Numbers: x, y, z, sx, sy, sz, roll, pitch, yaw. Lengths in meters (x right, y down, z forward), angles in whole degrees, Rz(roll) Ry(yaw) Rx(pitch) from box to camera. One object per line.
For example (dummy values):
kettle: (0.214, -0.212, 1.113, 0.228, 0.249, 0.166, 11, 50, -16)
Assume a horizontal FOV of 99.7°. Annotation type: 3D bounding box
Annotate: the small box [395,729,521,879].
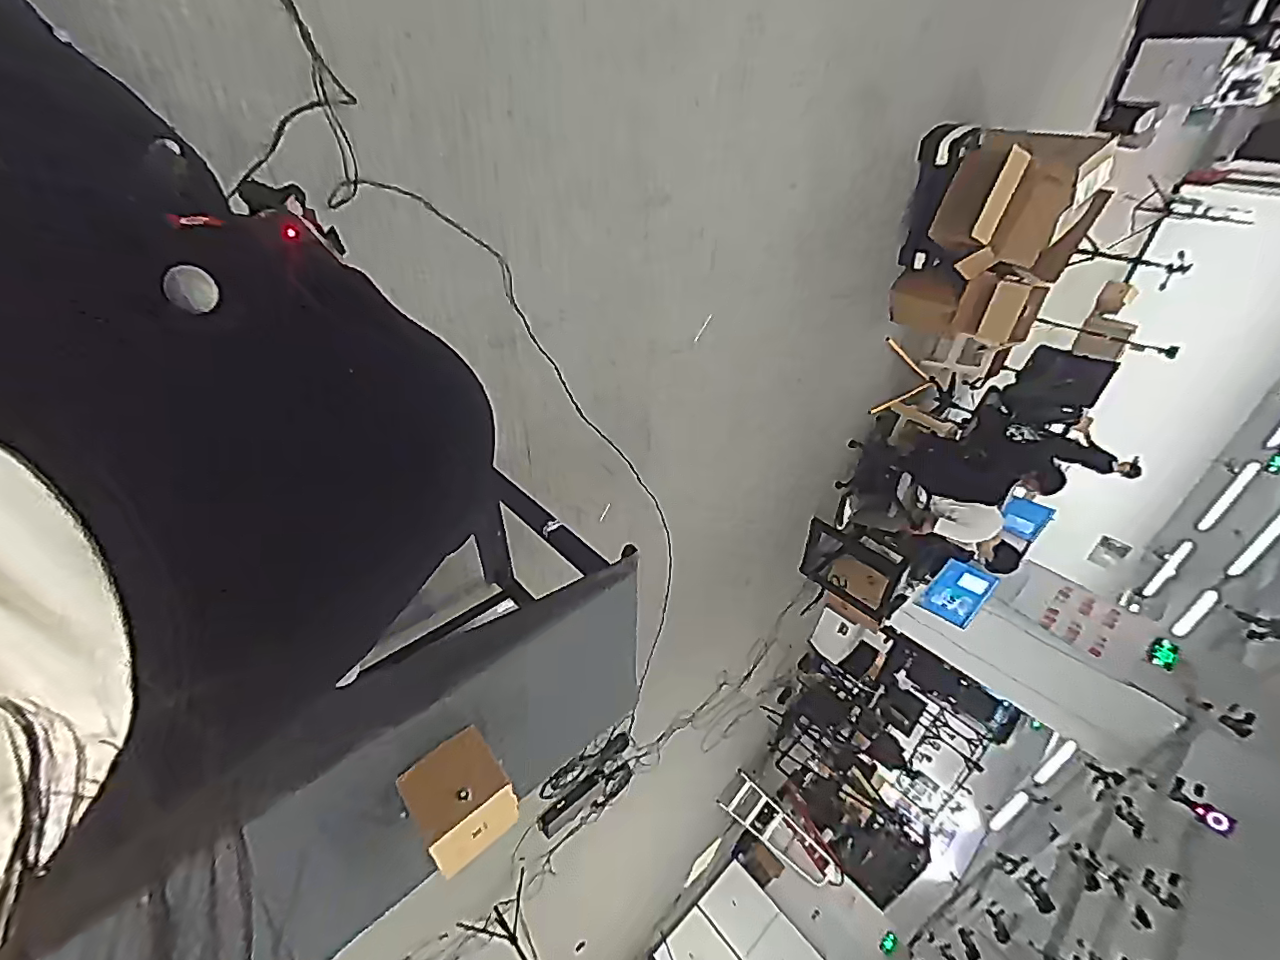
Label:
small box: (-0.375, 0.663, 1.123, 0.179, 0.176, 0.168, -28, 135, -32)
